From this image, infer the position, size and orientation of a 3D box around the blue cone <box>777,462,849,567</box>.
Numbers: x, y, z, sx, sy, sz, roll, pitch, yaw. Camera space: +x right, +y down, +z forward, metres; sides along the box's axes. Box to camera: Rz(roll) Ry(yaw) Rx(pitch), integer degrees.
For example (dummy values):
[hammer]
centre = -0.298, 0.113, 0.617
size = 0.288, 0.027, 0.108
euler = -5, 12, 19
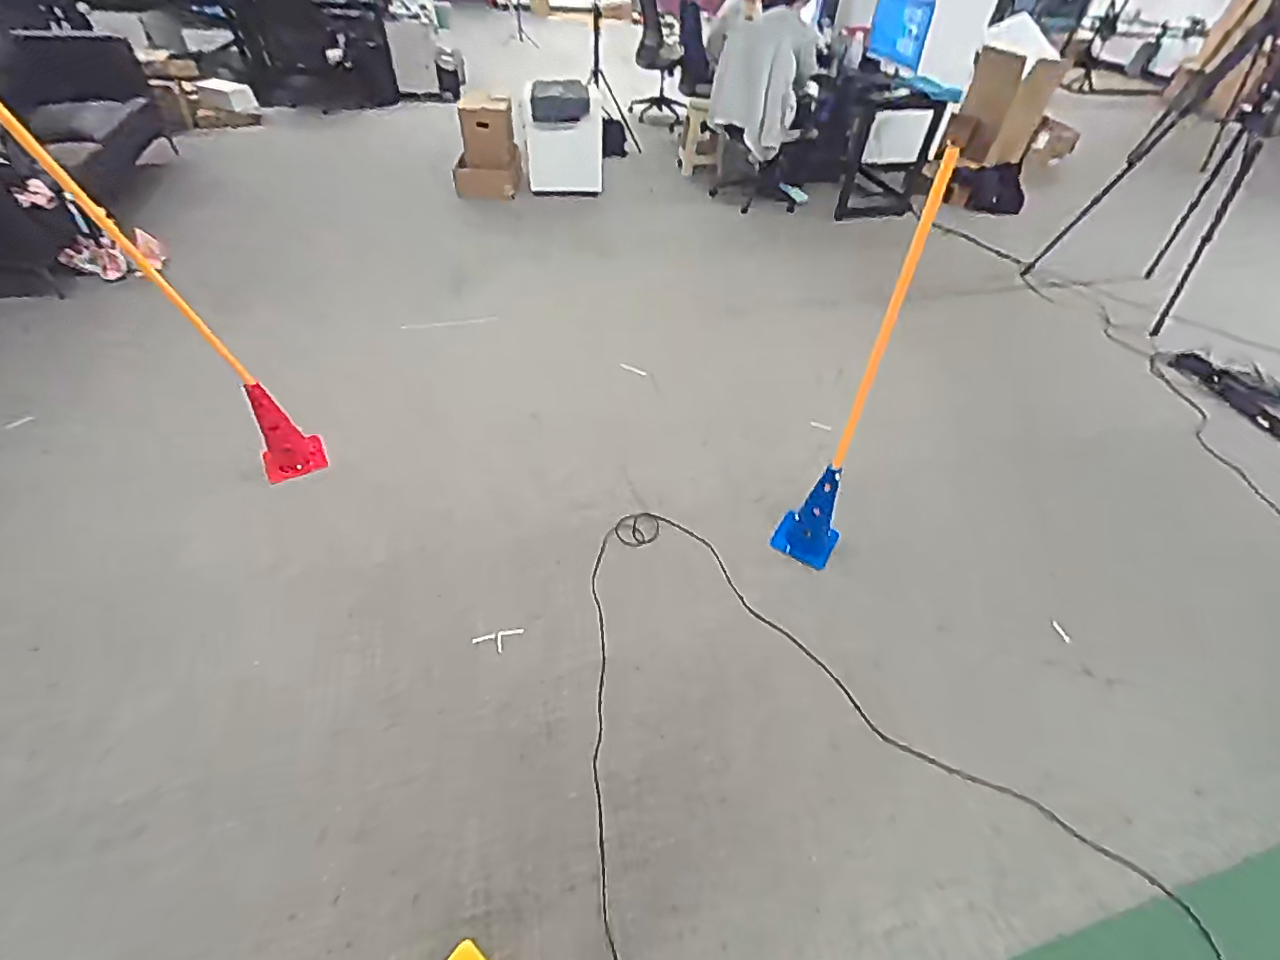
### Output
[blue cone]
centre = 0.594, 0.086, 1.764
size = 0.192, 0.380, 0.193
euler = 25, 48, 19
